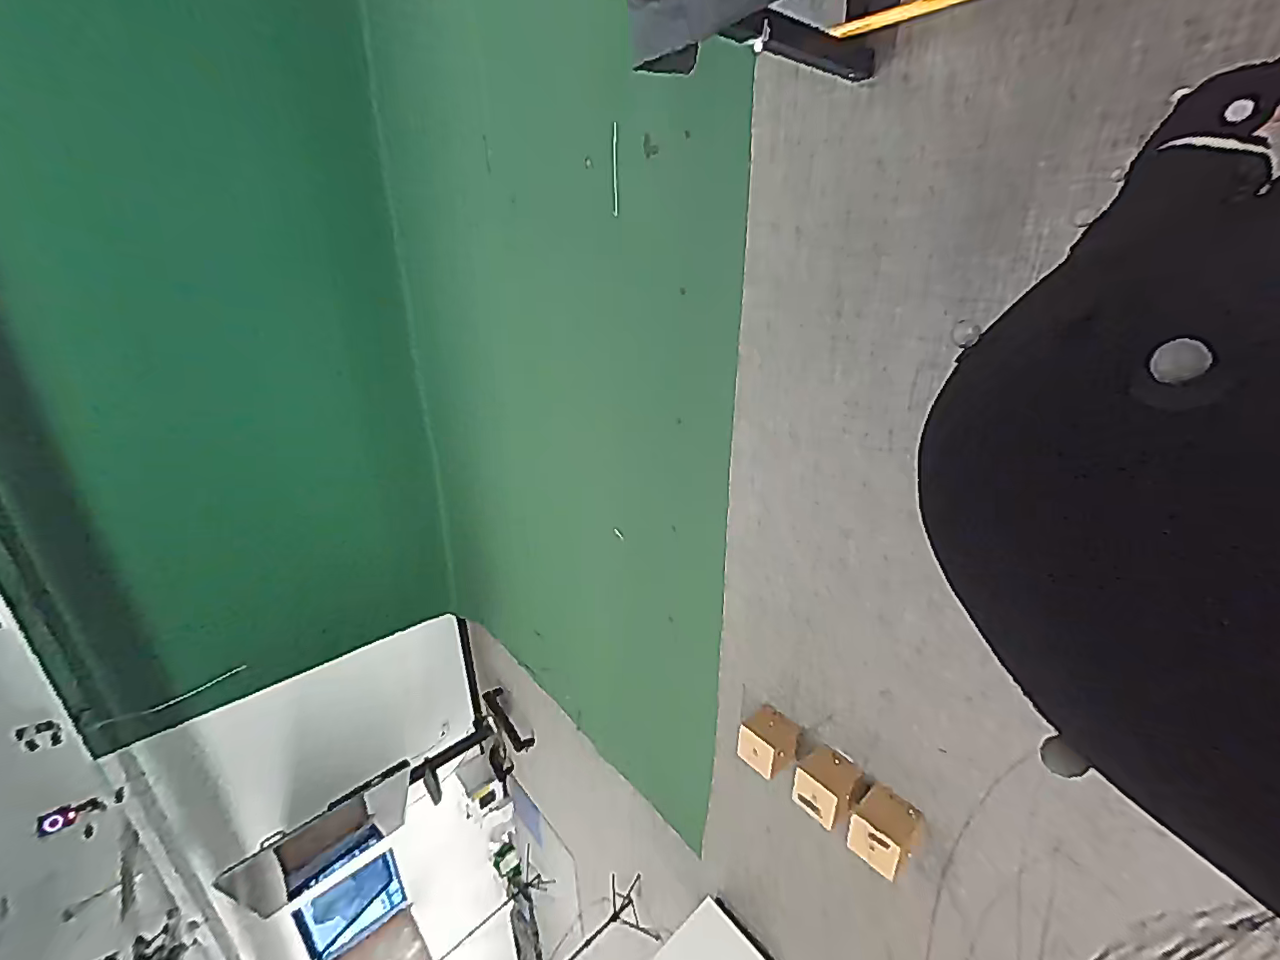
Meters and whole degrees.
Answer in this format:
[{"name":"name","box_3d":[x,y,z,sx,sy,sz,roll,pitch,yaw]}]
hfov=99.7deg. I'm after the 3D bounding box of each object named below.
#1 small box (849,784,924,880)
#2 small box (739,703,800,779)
[{"name":"small box","box_3d":[0.833,1.179,1.827,0.168,0.176,0.179,23,123,44]},{"name":"small box","box_3d":[0.522,1.036,2.164,0.168,0.176,0.179,26,124,45]}]
